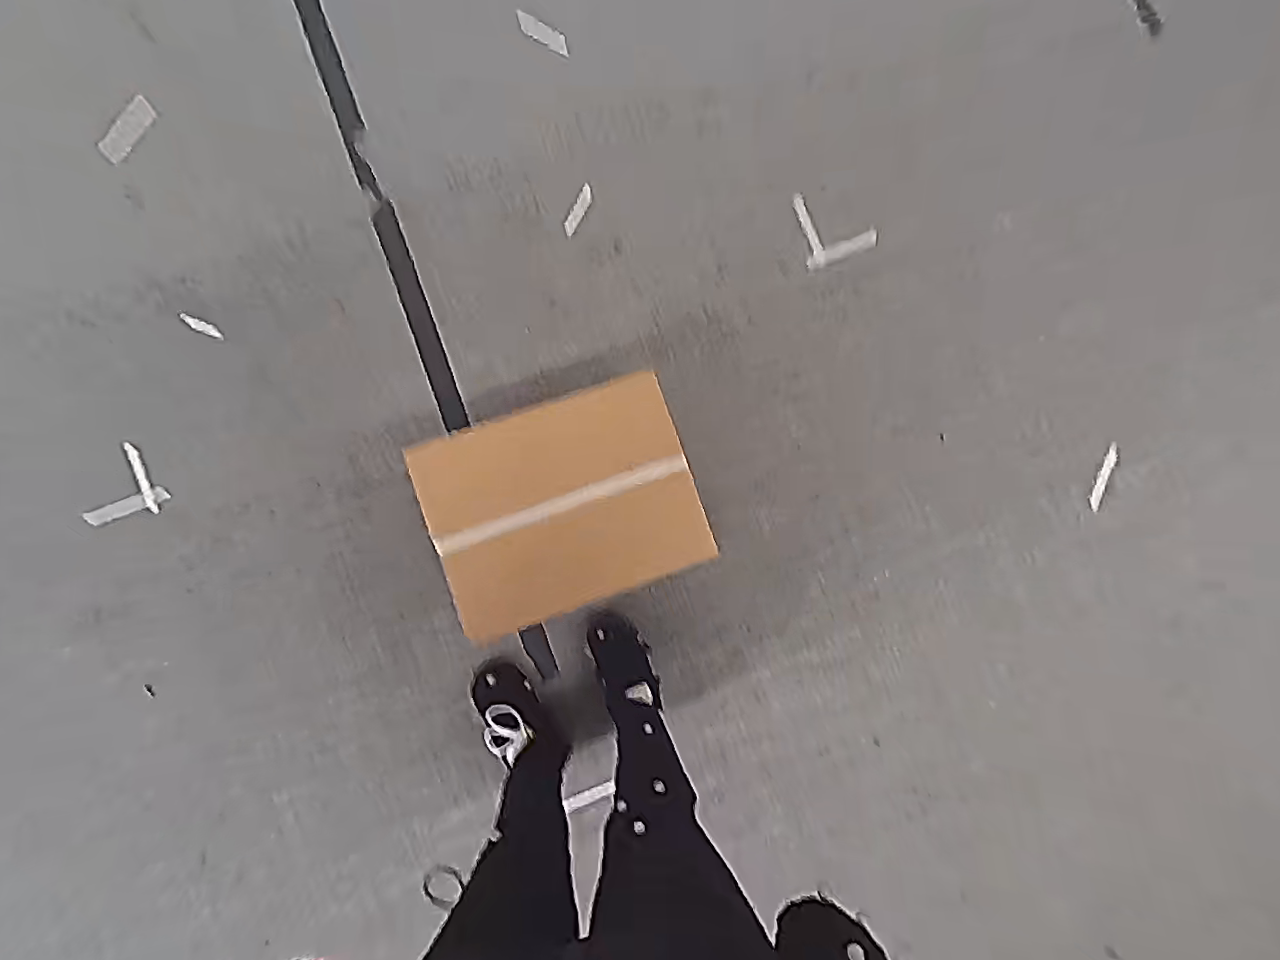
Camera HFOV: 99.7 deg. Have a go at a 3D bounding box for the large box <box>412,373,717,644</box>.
[{"bbox_3d":[-0.125,0.048,0.983,0.408,0.320,0.320,-19,90,-5],"label":"large box"}]
